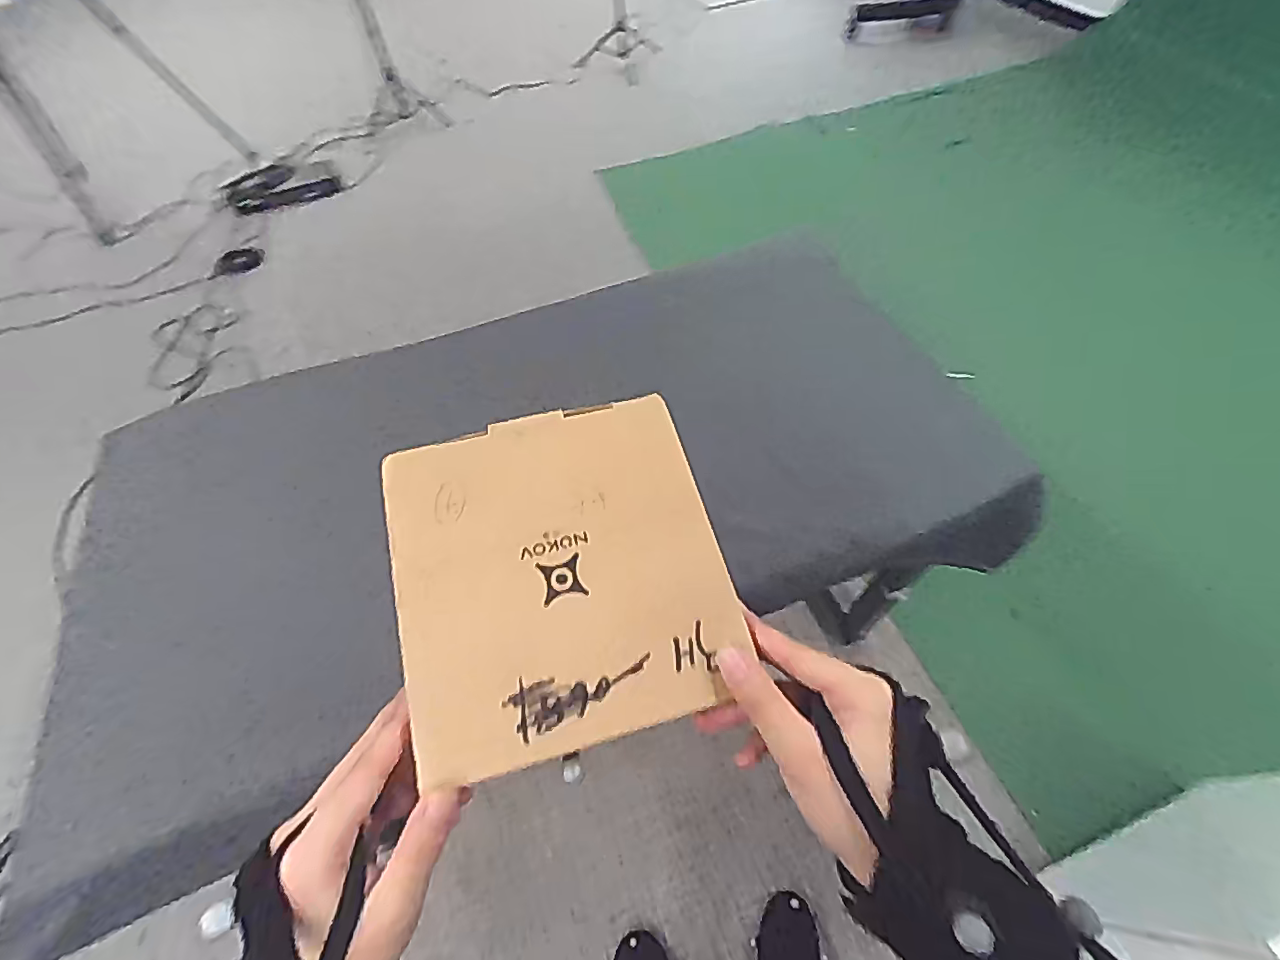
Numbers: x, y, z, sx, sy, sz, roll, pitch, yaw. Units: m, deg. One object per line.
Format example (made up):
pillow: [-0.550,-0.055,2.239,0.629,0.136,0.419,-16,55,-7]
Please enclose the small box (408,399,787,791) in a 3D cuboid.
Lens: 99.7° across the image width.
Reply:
small box: [-0.034,0.077,0.347,0.168,0.176,0.179,-13,66,-8]
